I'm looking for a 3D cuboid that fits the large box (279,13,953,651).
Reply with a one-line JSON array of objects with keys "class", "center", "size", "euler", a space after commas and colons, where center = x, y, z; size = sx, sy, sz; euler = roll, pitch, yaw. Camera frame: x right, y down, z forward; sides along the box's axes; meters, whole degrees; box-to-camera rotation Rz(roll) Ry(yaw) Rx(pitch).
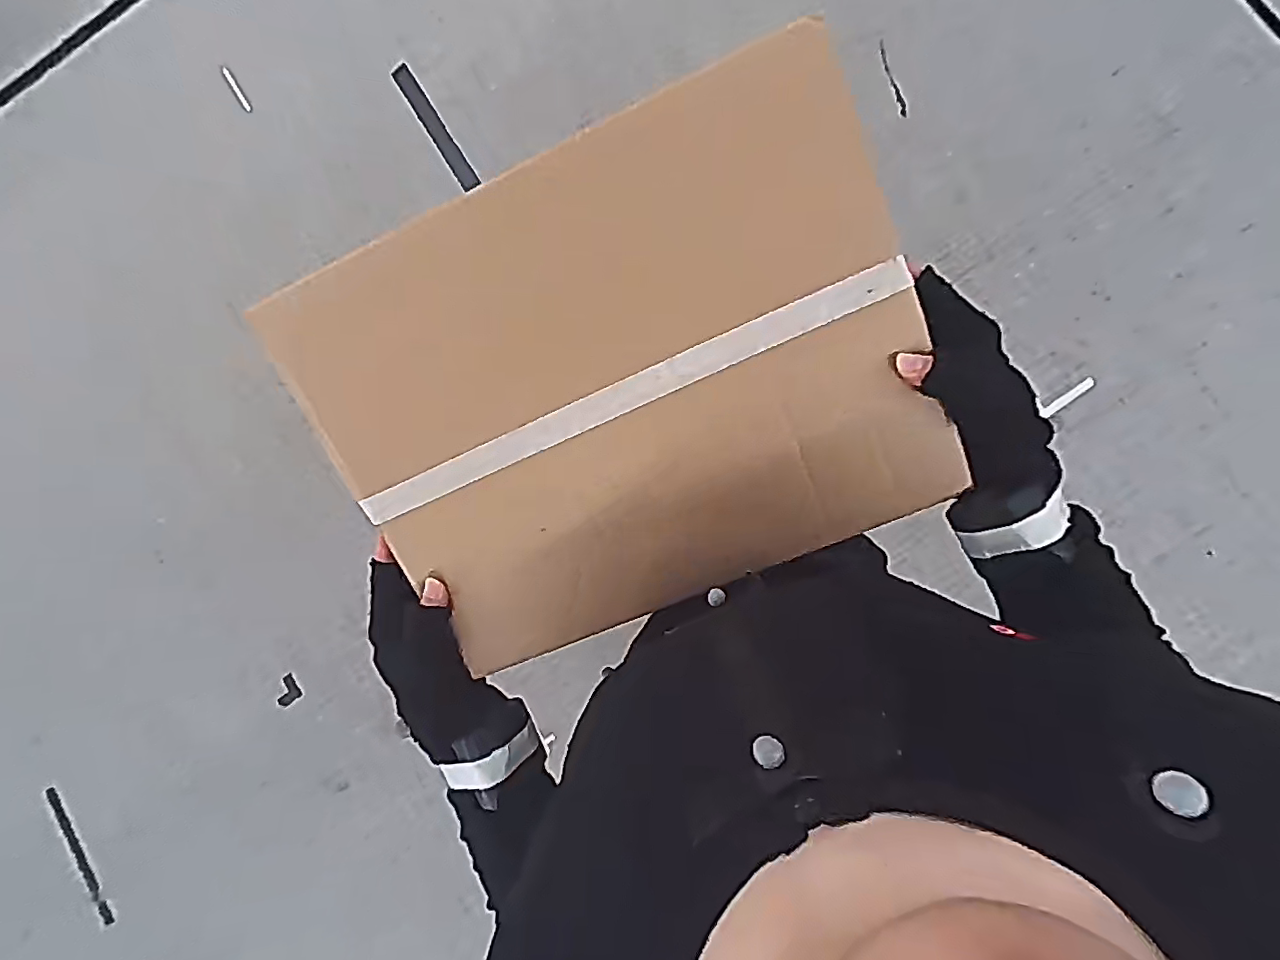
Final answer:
[{"class": "large box", "center": [-0.010, -0.106, 0.524], "size": [0.408, 0.320, 0.320], "euler": [-22, 105, 8]}]
